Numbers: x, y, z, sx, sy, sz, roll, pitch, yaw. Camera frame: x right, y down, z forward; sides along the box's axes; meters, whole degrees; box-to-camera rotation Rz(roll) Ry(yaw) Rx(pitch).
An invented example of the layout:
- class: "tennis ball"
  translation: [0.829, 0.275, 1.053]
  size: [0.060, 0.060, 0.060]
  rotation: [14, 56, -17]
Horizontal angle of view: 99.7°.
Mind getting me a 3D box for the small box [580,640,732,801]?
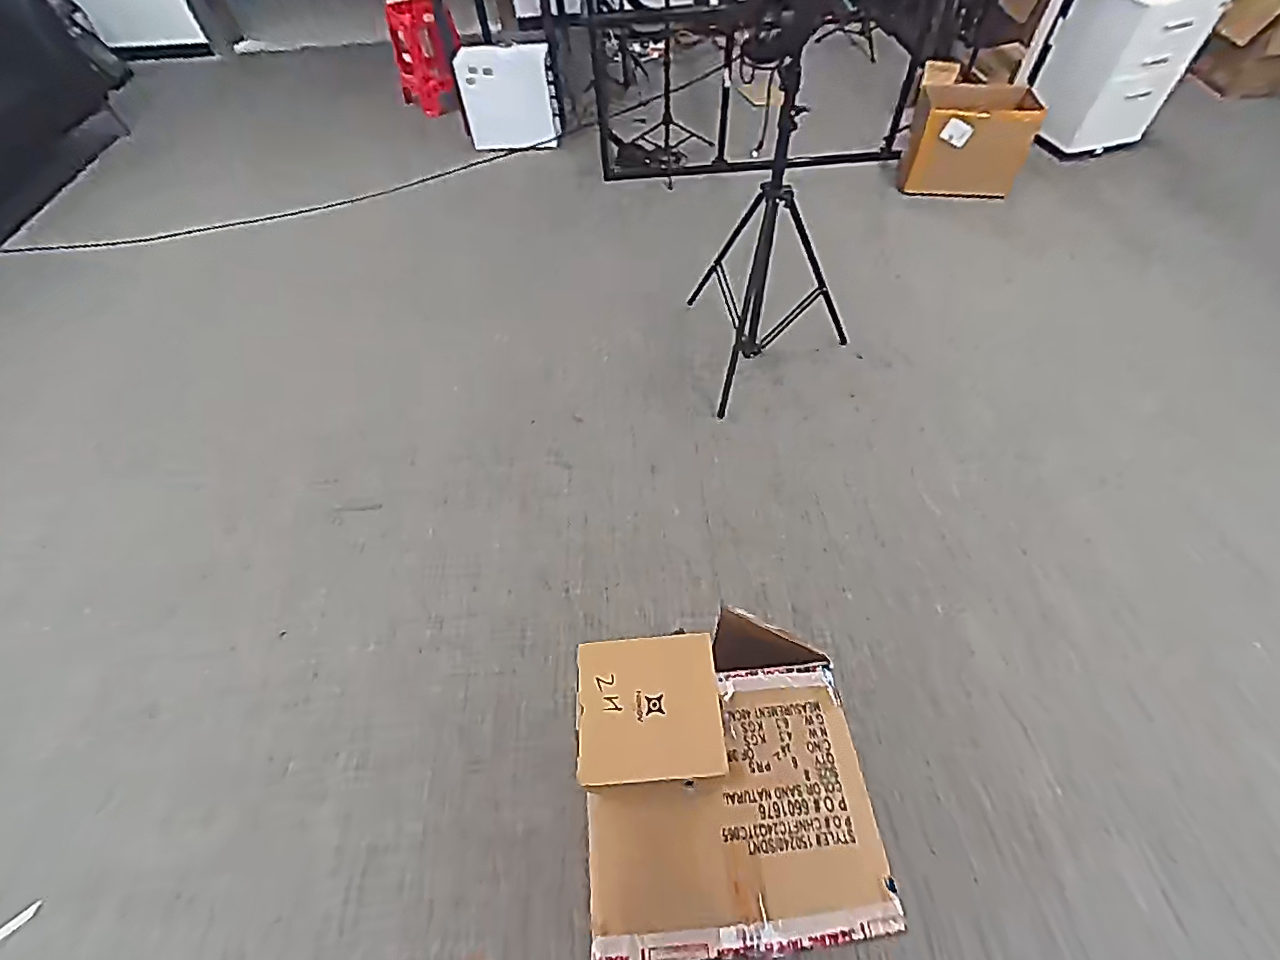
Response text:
- class: "small box"
  translation: [0.020, 0.326, 0.725]
  size: [0.179, 0.176, 0.168]
  rotation: [-6, 55, 2]
